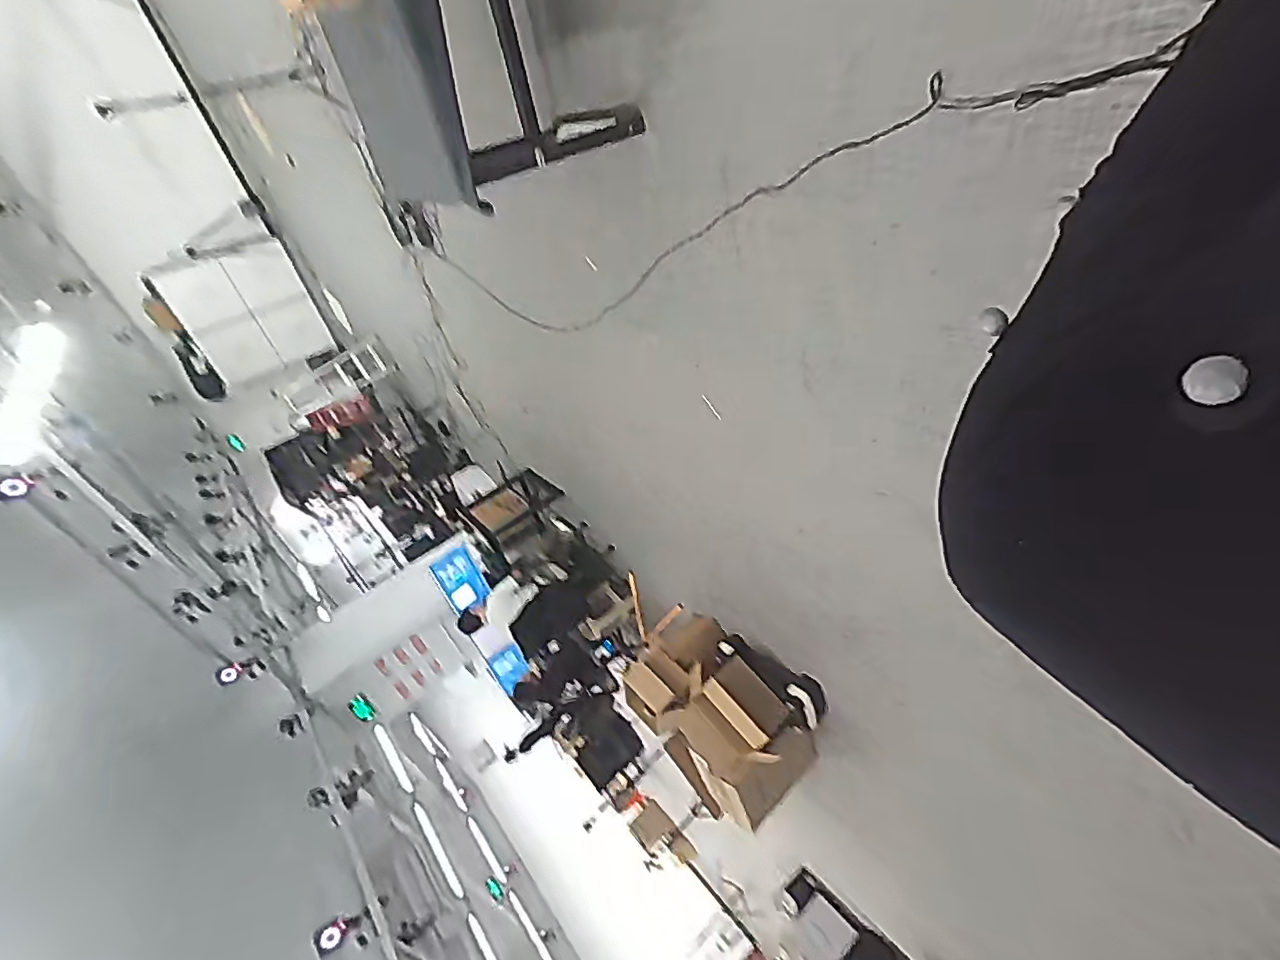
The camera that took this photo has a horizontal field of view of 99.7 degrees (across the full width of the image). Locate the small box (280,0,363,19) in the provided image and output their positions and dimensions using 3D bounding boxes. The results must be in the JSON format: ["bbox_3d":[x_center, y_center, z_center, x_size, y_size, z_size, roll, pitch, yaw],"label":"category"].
[{"bbox_3d":[-0.803,-1.262,1.317,0.168,0.176,0.179,29,143,42],"label":"small box"}]
